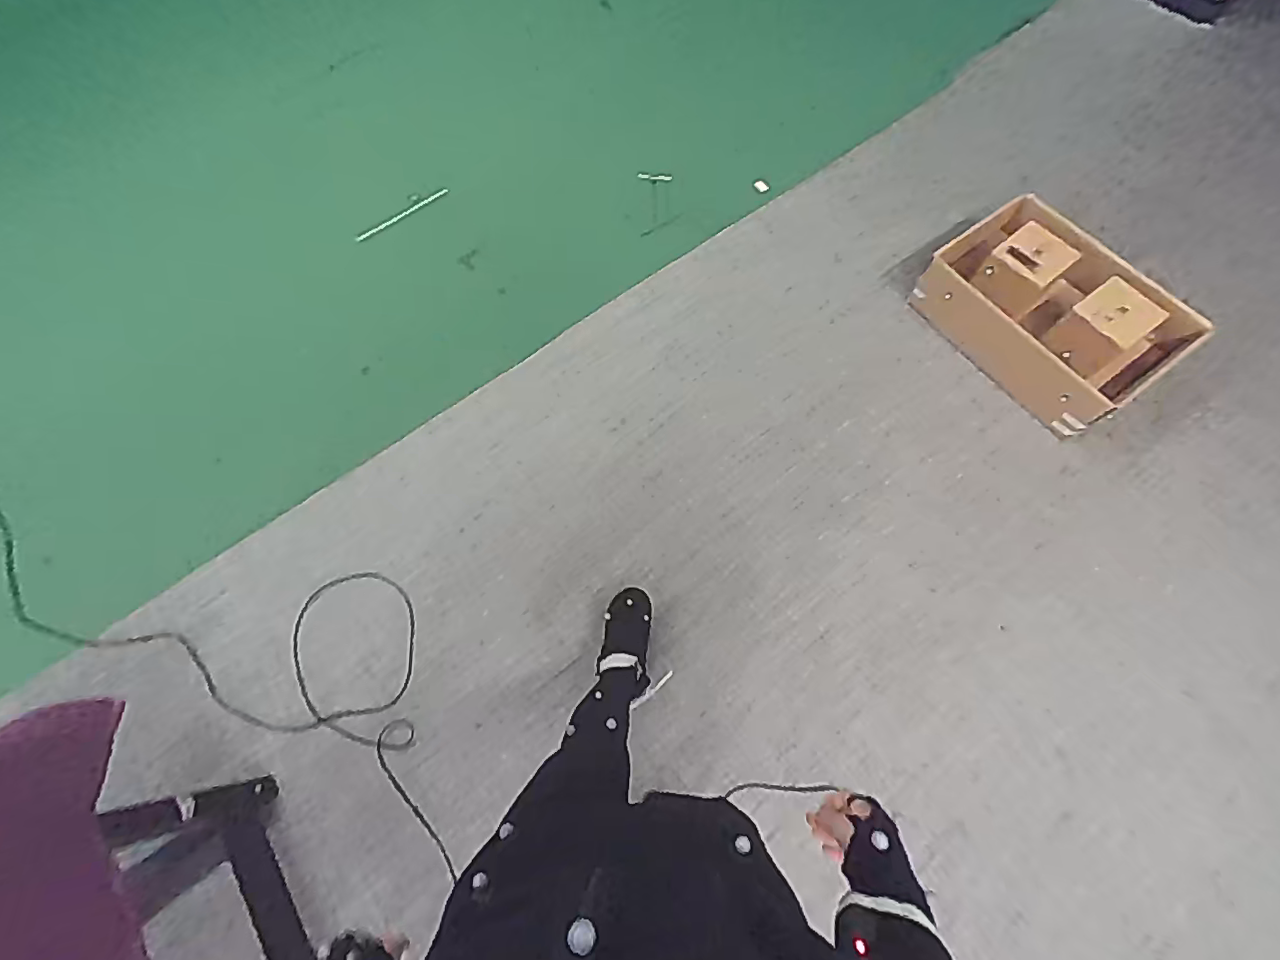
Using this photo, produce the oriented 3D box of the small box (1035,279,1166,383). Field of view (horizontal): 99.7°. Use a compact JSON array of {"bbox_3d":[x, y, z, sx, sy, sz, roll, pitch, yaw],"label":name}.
[{"bbox_3d":[1.237,-0.400,1.470,0.179,0.176,0.168,-34,69,-9],"label":"small box"}]
